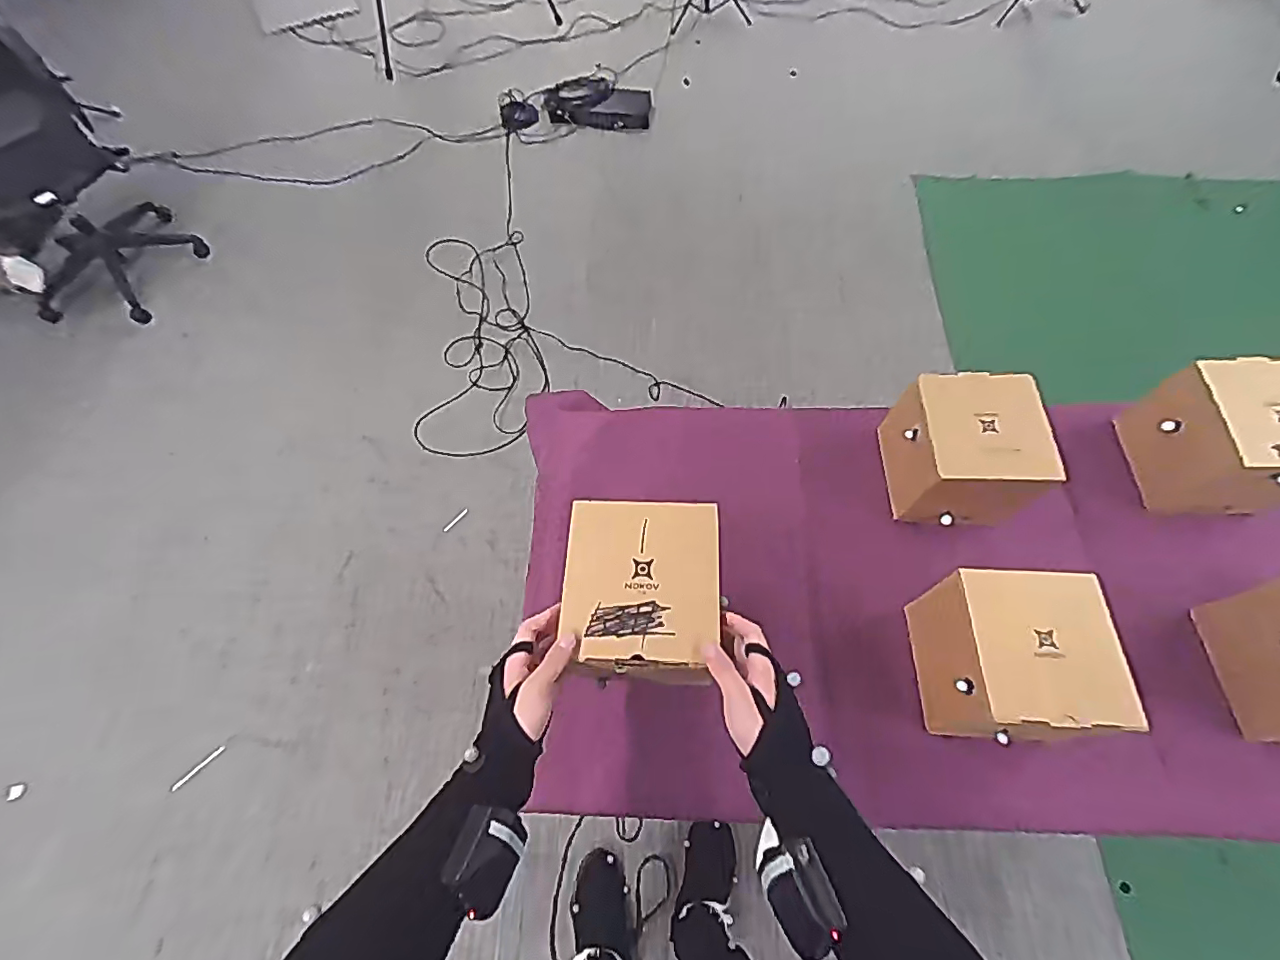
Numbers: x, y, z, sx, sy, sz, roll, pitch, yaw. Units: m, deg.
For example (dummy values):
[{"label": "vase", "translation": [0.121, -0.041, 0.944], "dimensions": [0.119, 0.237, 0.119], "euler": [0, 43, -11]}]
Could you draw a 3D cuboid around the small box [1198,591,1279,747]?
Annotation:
[{"label": "small box", "translation": [0.871, 0.234, 0.671], "dimensions": [0.168, 0.176, 0.179], "euler": [2, 62, 4]}]

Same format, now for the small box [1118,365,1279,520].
[{"label": "small box", "translation": [0.885, -0.053, 0.816], "dimensions": [0.168, 0.176, 0.179], "euler": [0, 64, 4]}]

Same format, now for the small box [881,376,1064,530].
[{"label": "small box", "translation": [0.487, -0.038, 0.827], "dimensions": [0.168, 0.176, 0.179], "euler": [2, 65, 3]}]

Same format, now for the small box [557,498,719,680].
[{"label": "small box", "translation": [0.007, 0.136, 0.644], "dimensions": [0.168, 0.176, 0.179], "euler": [2, 63, 4]}]

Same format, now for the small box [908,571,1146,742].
[{"label": "small box", "translation": [0.467, 0.229, 0.691], "dimensions": [0.168, 0.176, 0.179], "euler": [3, 62, 3]}]
